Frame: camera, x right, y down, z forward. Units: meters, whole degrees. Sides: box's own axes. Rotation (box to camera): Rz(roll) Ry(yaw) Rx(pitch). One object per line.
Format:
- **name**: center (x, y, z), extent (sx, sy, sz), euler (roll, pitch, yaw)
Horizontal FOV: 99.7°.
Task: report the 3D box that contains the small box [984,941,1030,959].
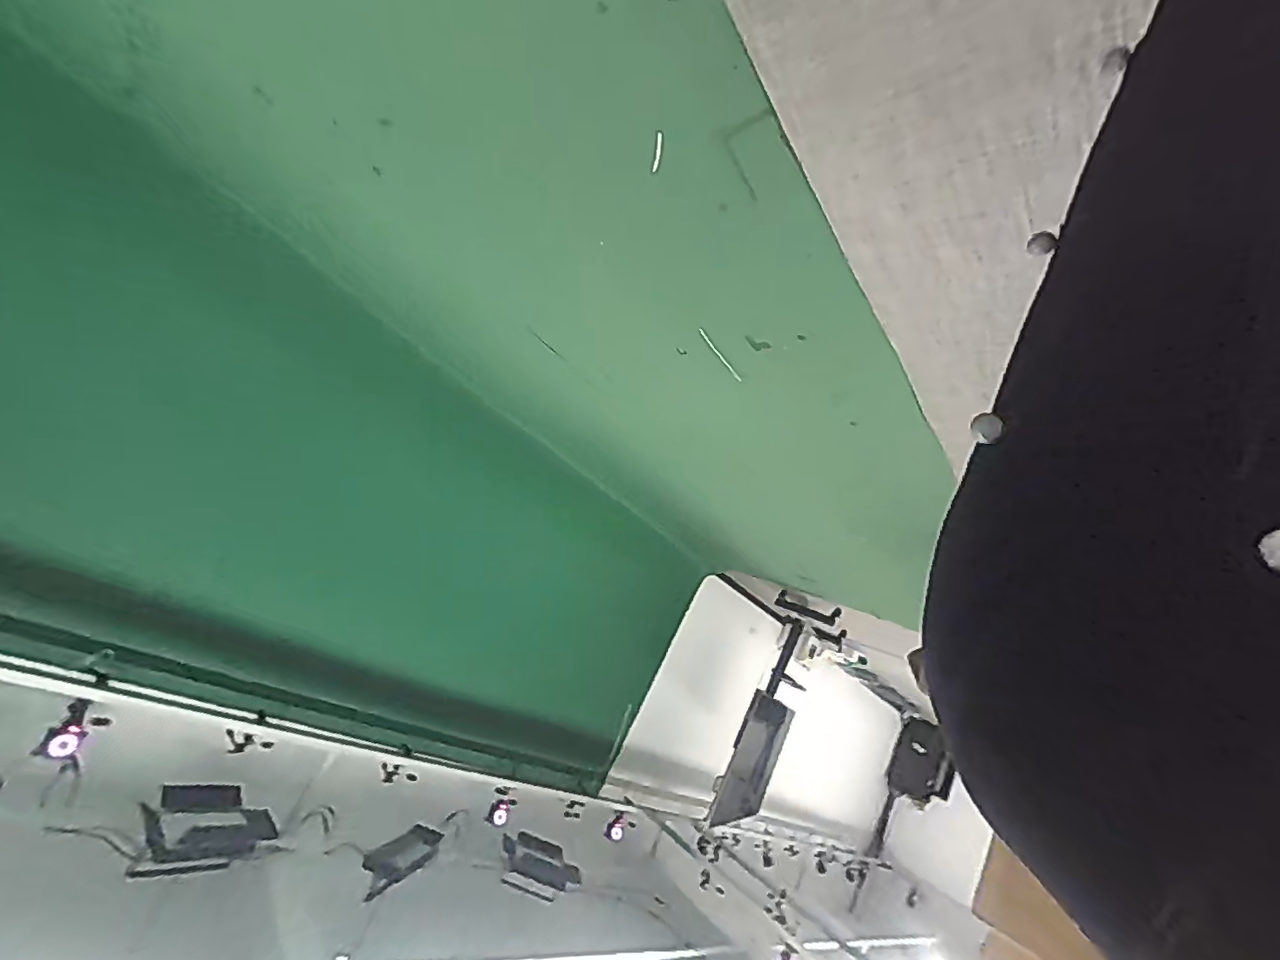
- **small box**: center (1.234, 1.649, 1.765), extent (0.168, 0.176, 0.179), euler (41, 160, -32)
